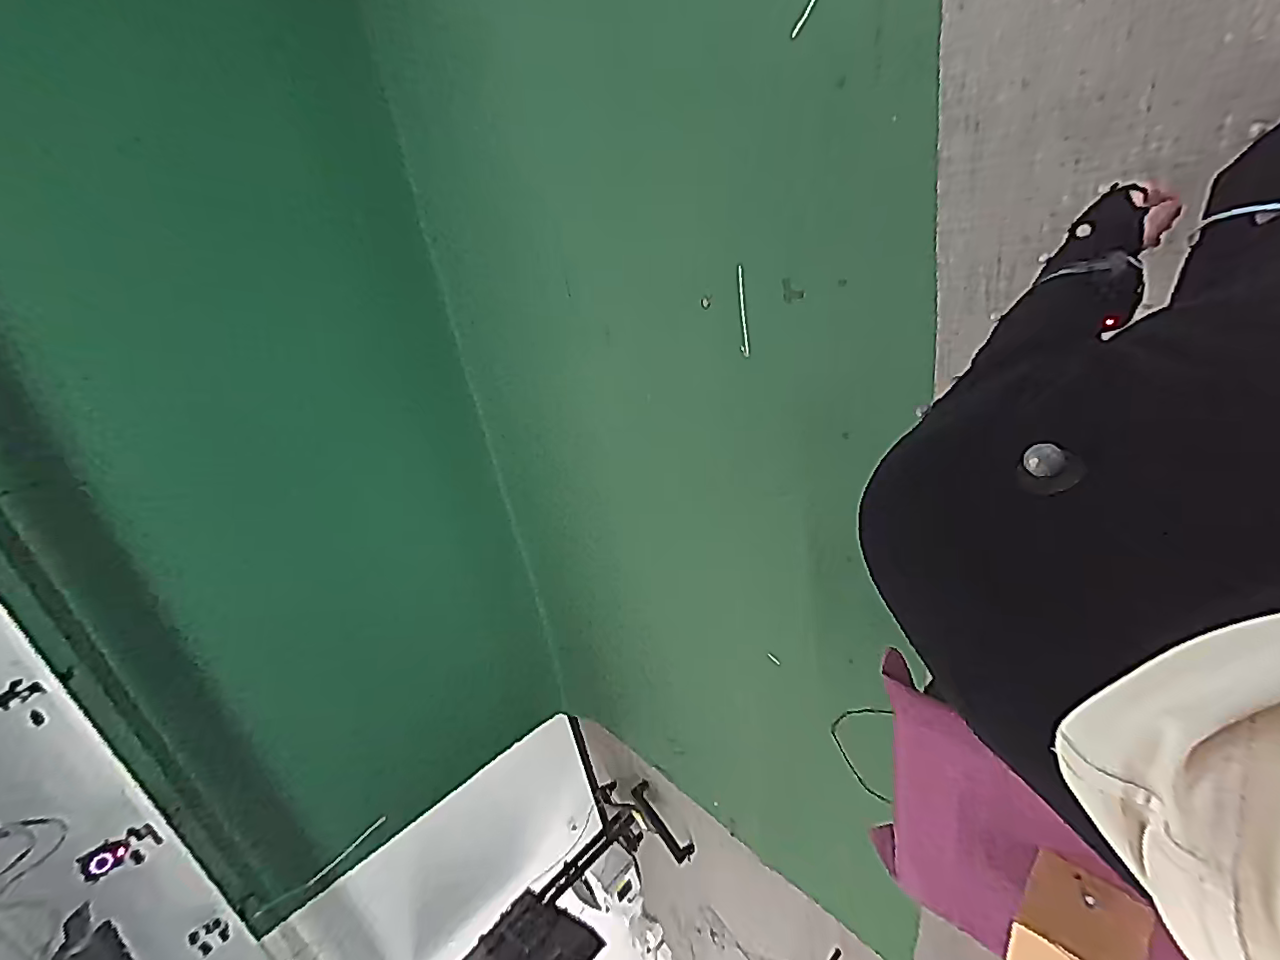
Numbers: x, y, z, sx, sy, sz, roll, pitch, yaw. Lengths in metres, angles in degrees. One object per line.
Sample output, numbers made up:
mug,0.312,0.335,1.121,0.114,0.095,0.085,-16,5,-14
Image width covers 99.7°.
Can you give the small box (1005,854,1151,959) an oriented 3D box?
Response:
small box,0.781,0.834,0.969,0.168,0.176,0.179,16,124,45
